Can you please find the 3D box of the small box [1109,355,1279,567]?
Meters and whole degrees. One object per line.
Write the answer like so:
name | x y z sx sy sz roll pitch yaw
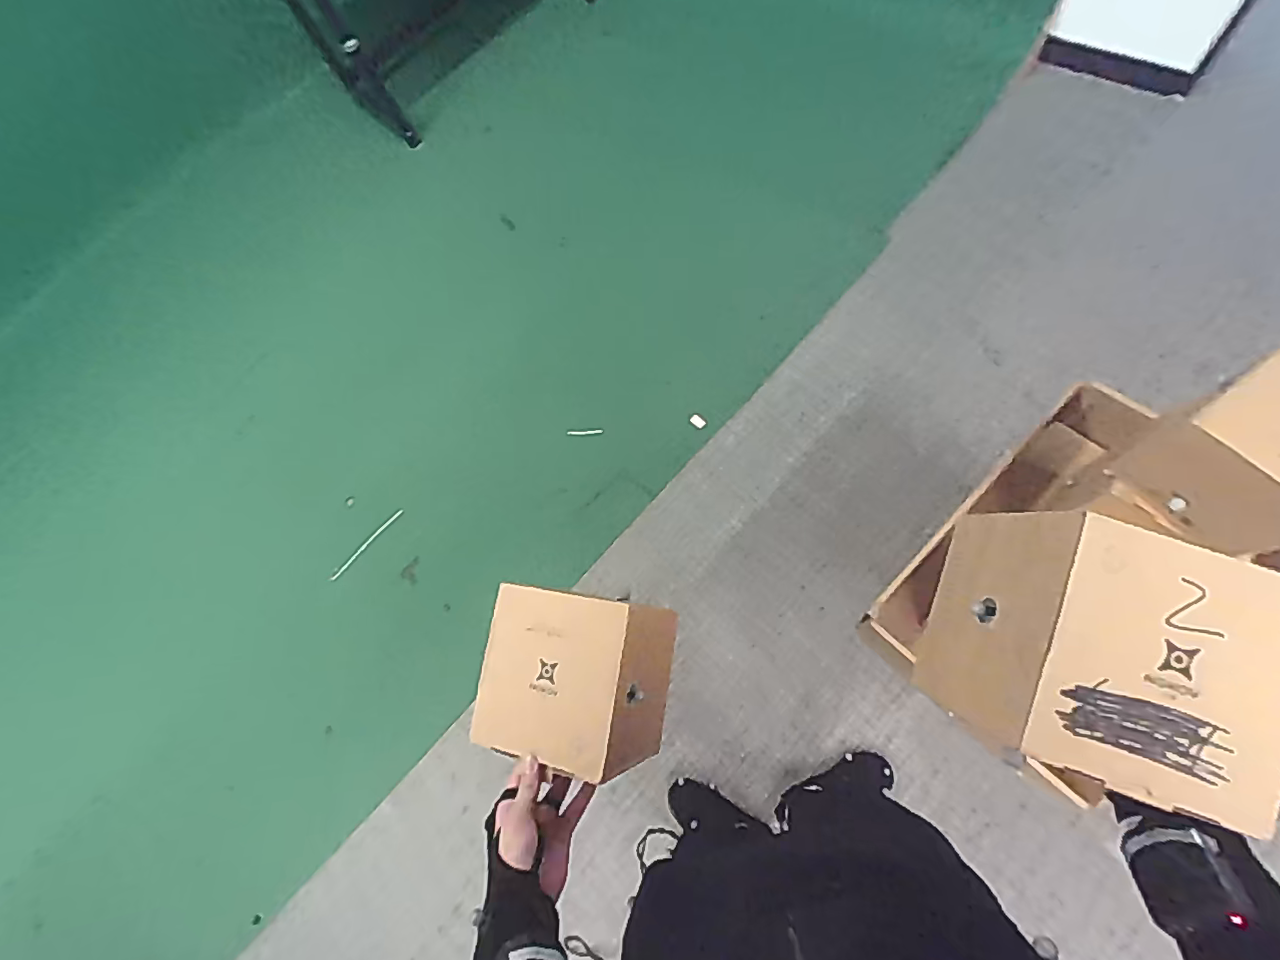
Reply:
small box | 0.737 -0.020 0.652 0.179 0.176 0.168 -37 66 -1

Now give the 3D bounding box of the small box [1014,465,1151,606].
small box | 0.807 0.097 0.949 0.179 0.176 0.168 -45 66 -6

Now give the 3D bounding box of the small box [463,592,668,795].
small box | -0.075 0.237 0.643 0.168 0.176 0.179 4 77 23

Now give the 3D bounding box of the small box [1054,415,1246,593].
small box | 0.772 0.043 0.800 0.168 0.176 0.179 42 84 22
